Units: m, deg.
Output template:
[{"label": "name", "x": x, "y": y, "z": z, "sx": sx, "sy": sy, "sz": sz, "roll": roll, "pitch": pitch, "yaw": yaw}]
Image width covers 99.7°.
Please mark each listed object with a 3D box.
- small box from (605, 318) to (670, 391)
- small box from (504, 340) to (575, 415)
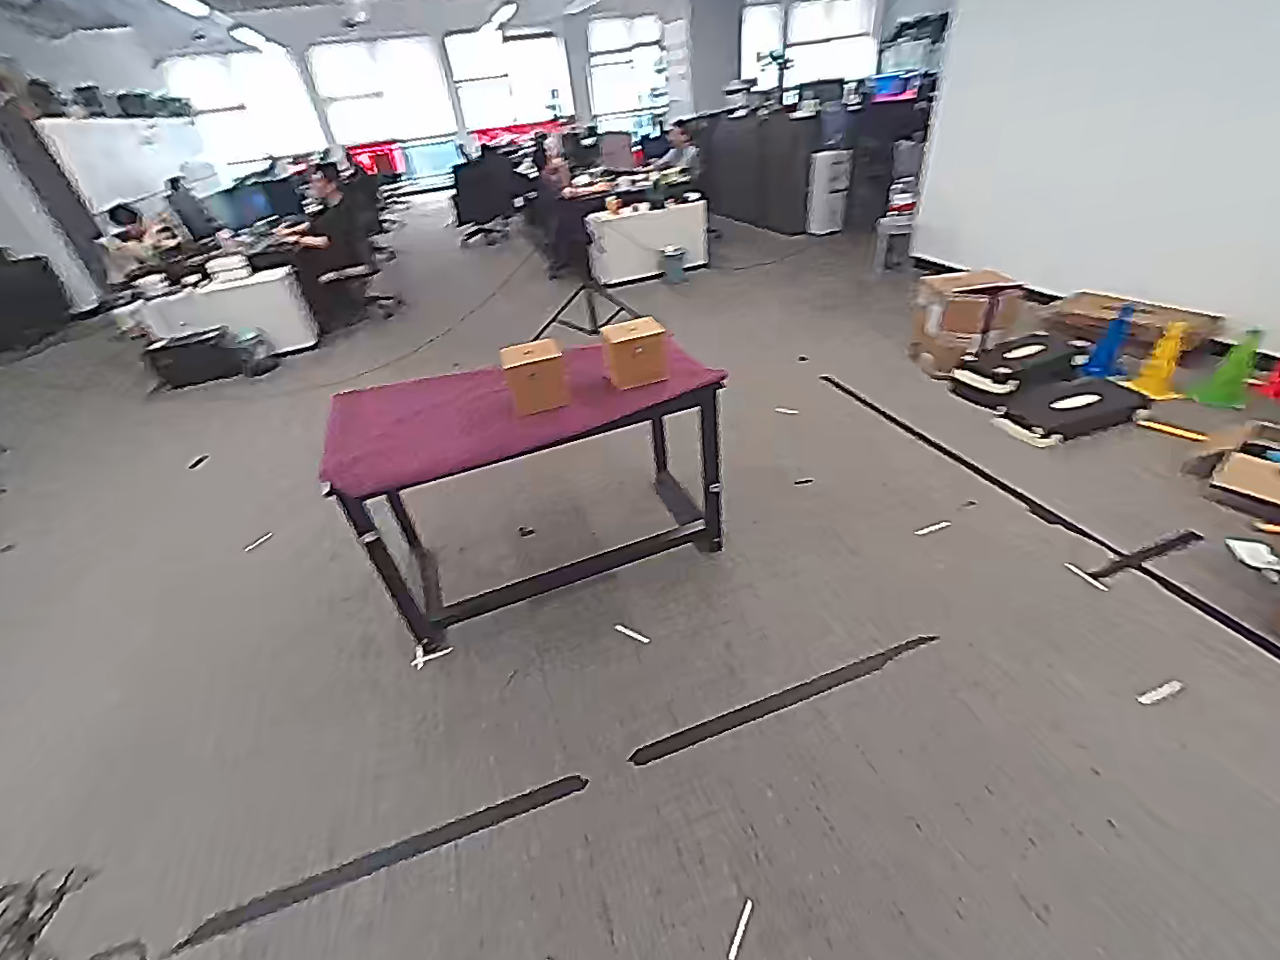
[{"label": "small box", "x": -0.005, "y": -0.417, "z": 1.795, "sx": 0.179, "sy": 0.176, "sz": 0.168, "roll": -16, "pitch": 35, "yaw": -10}, {"label": "small box", "x": -0.320, "y": -0.326, "z": 1.725, "sx": 0.179, "sy": 0.176, "sz": 0.168, "roll": -15, "pitch": 37, "yaw": -11}]
